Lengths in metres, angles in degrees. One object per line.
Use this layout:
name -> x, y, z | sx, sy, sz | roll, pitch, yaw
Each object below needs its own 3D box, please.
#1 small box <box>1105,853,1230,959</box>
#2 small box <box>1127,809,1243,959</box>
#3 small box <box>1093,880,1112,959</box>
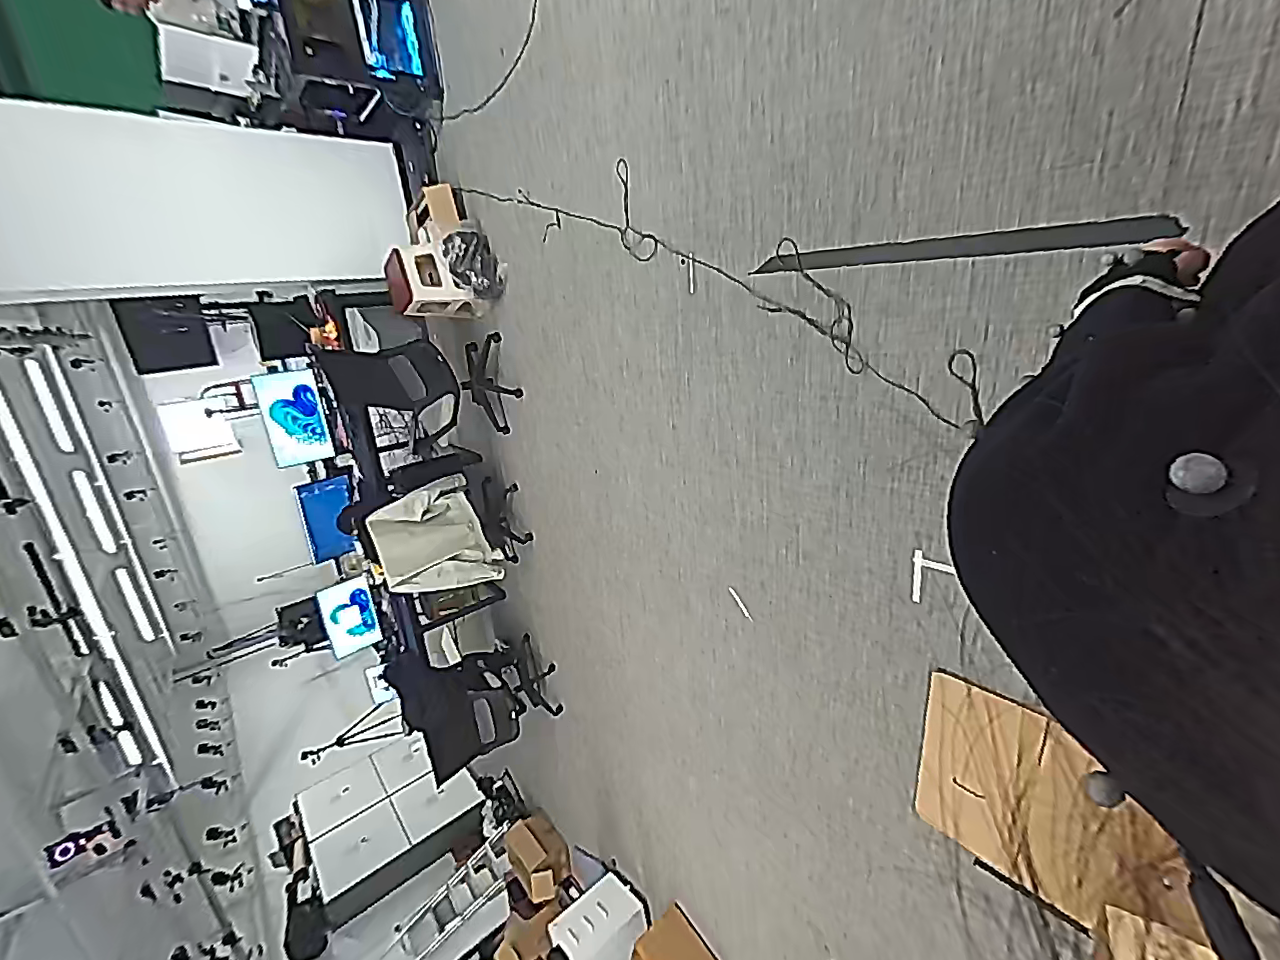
small box -> 1.096, 0.939, 1.123 | 0.168, 0.176, 0.179 | -2, 104, 51
small box -> 1.224, 0.889, 1.215 | 0.168, 0.176, 0.179 | -3, 103, 52
small box -> 1.234, 1.149, 1.322 | 0.168, 0.176, 0.179 | 4, 109, 50
